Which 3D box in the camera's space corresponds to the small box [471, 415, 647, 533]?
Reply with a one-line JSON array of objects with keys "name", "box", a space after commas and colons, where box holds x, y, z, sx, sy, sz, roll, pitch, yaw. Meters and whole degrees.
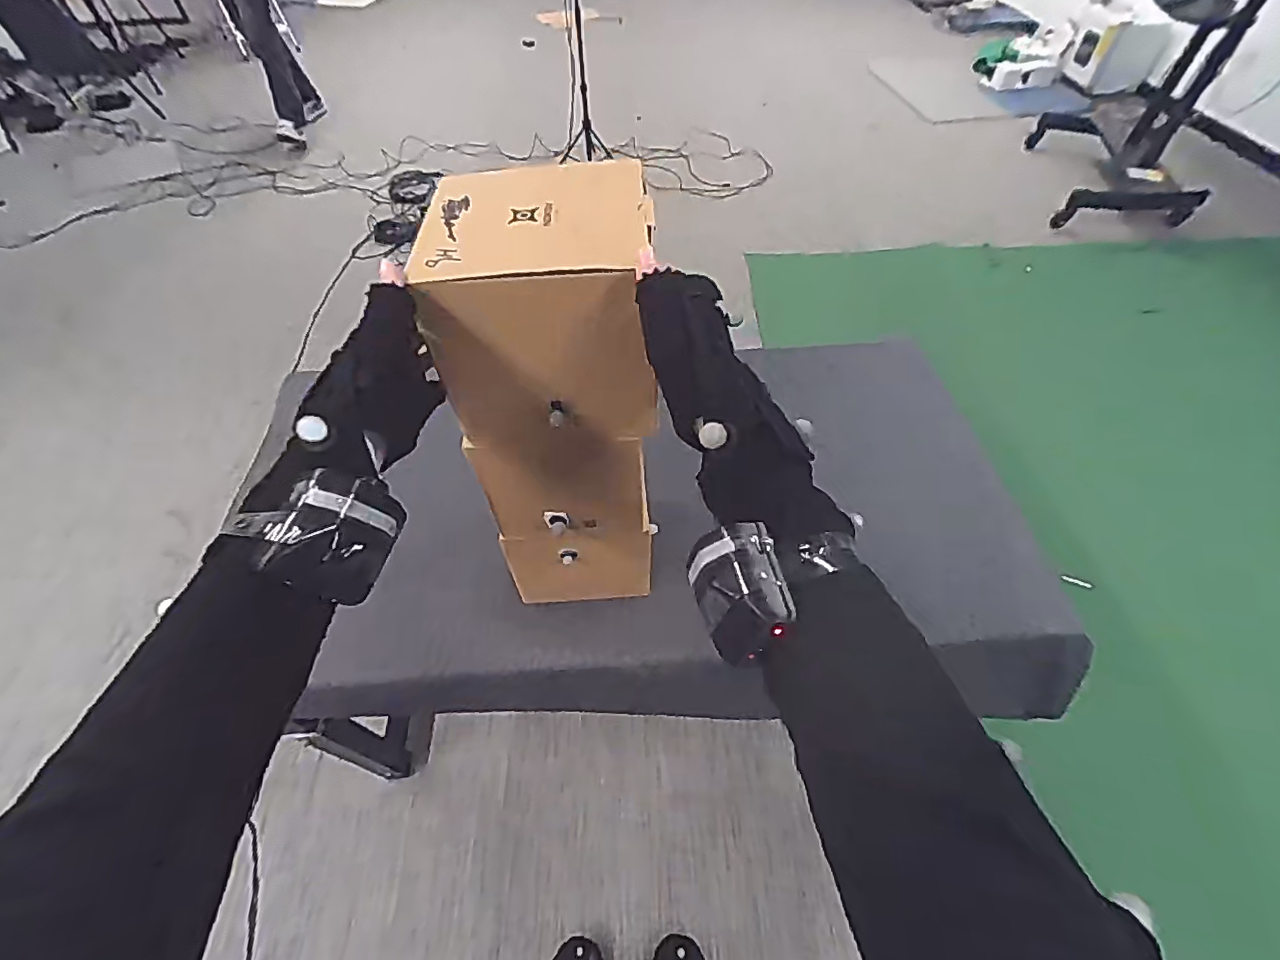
[{"name": "small box", "box": [-0.078, -0.058, 0.618, 0.168, 0.176, 0.179, -4, 54, 0]}]

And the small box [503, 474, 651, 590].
[{"name": "small box", "box": [-0.077, 0.042, 0.745, 0.179, 0.176, 0.168, -3, 53, -2]}]

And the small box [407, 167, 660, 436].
[{"name": "small box", "box": [-0.075, -0.154, 0.483, 0.179, 0.176, 0.168, -3, 51, 0]}]
